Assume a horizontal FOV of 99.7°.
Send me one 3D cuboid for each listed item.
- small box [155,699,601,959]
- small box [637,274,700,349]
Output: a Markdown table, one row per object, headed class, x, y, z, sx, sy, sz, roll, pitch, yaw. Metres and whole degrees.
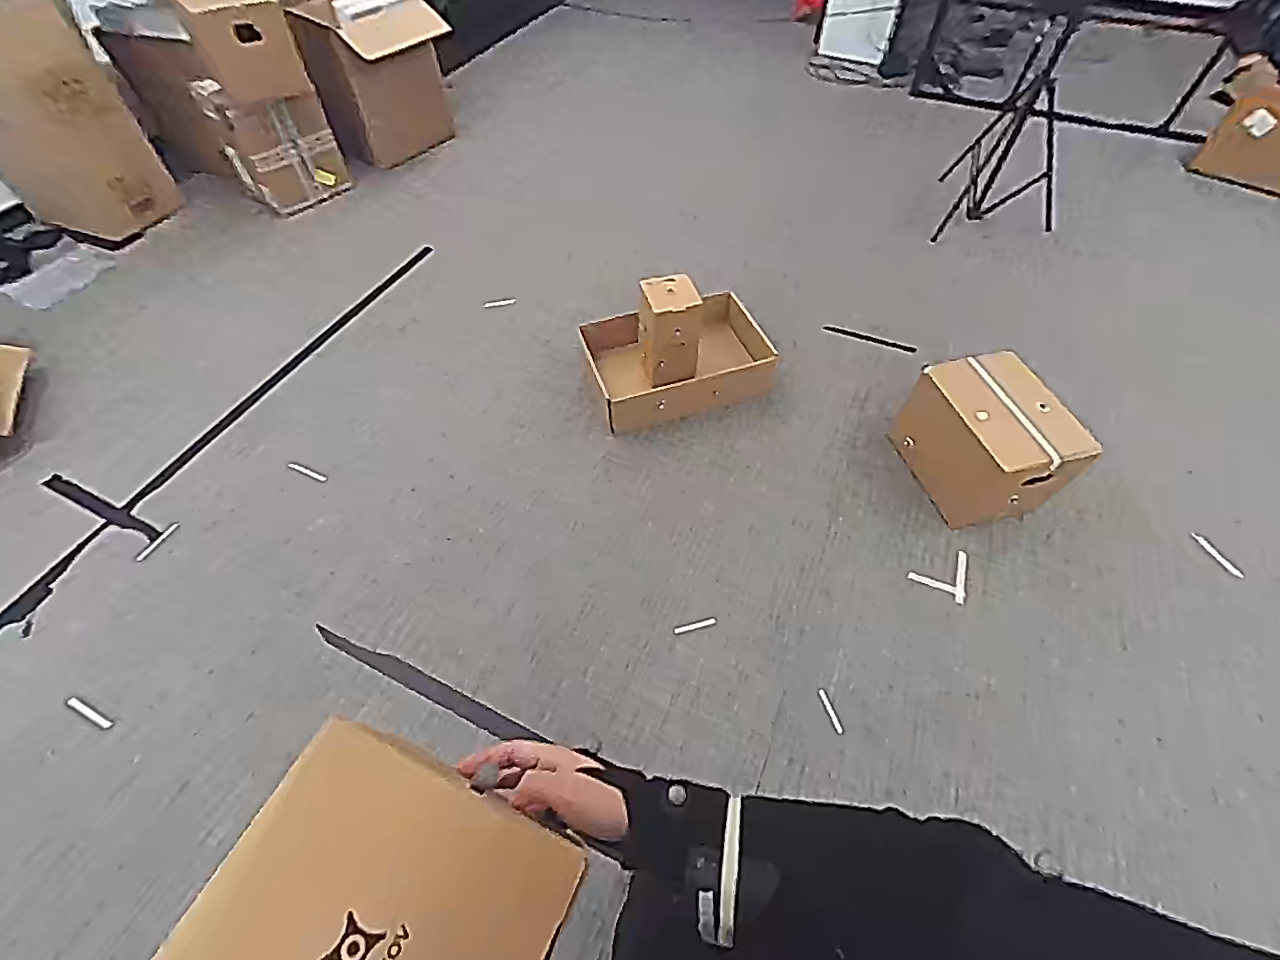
| class | x | y | z | sx | sy | sz | roll | pitch | yaw |
| --- | --- | --- | --- | --- | --- | --- | --- | --- | --- |
| small box | -0.145 | 0.270 | 0.346 | 0.179 | 0.176 | 0.168 | 27 | 60 | 5 |
| small box | 0.092 | -0.553 | 1.802 | 0.168 | 0.176 | 0.179 | -12 | 56 | -10 |
